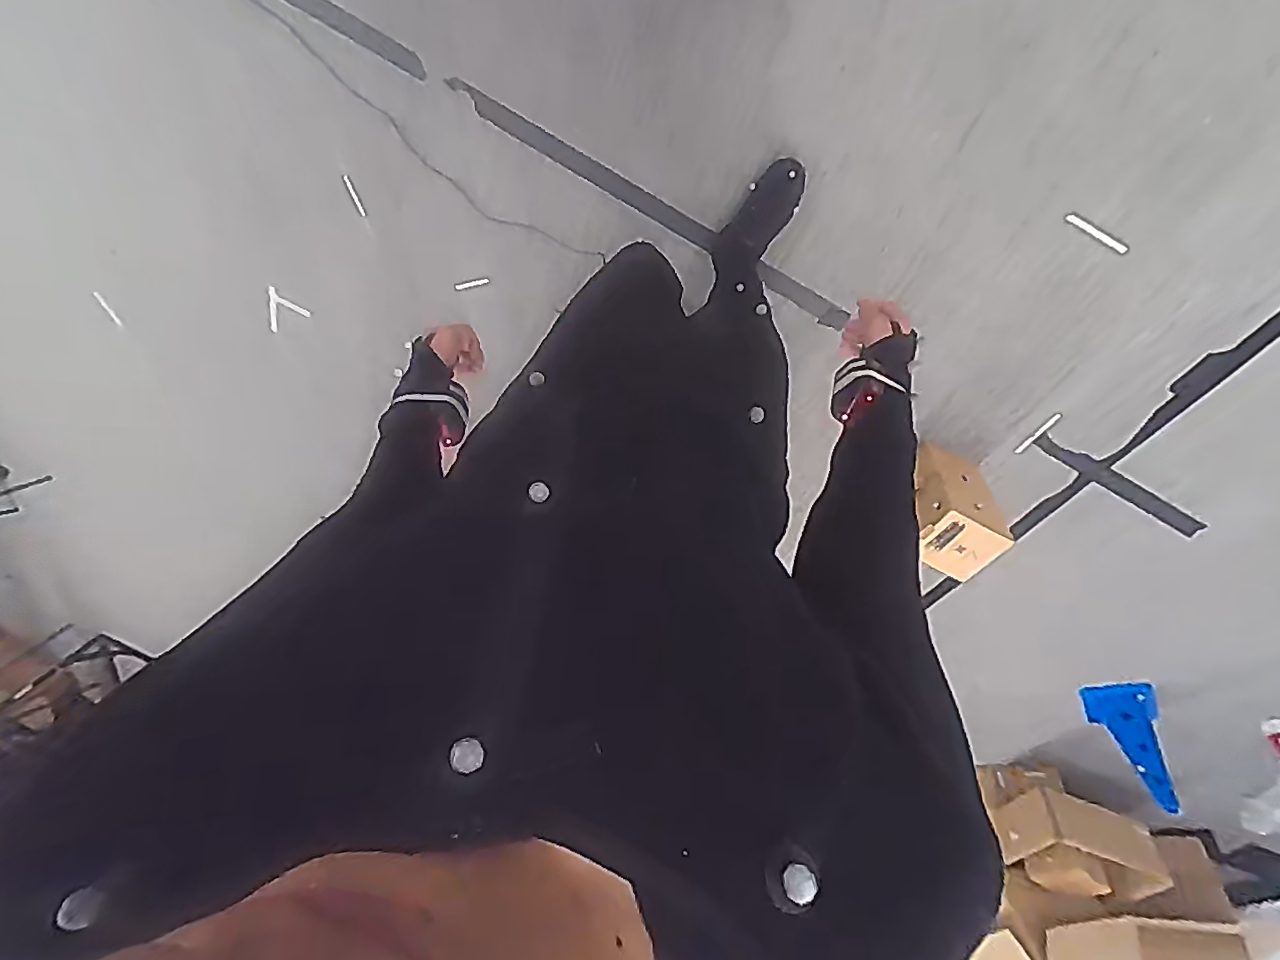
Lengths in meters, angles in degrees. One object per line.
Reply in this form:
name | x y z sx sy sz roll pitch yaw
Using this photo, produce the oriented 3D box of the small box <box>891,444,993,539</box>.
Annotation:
small box | 0.832 0.026 1.506 0.179 0.176 0.168 27 128 0
